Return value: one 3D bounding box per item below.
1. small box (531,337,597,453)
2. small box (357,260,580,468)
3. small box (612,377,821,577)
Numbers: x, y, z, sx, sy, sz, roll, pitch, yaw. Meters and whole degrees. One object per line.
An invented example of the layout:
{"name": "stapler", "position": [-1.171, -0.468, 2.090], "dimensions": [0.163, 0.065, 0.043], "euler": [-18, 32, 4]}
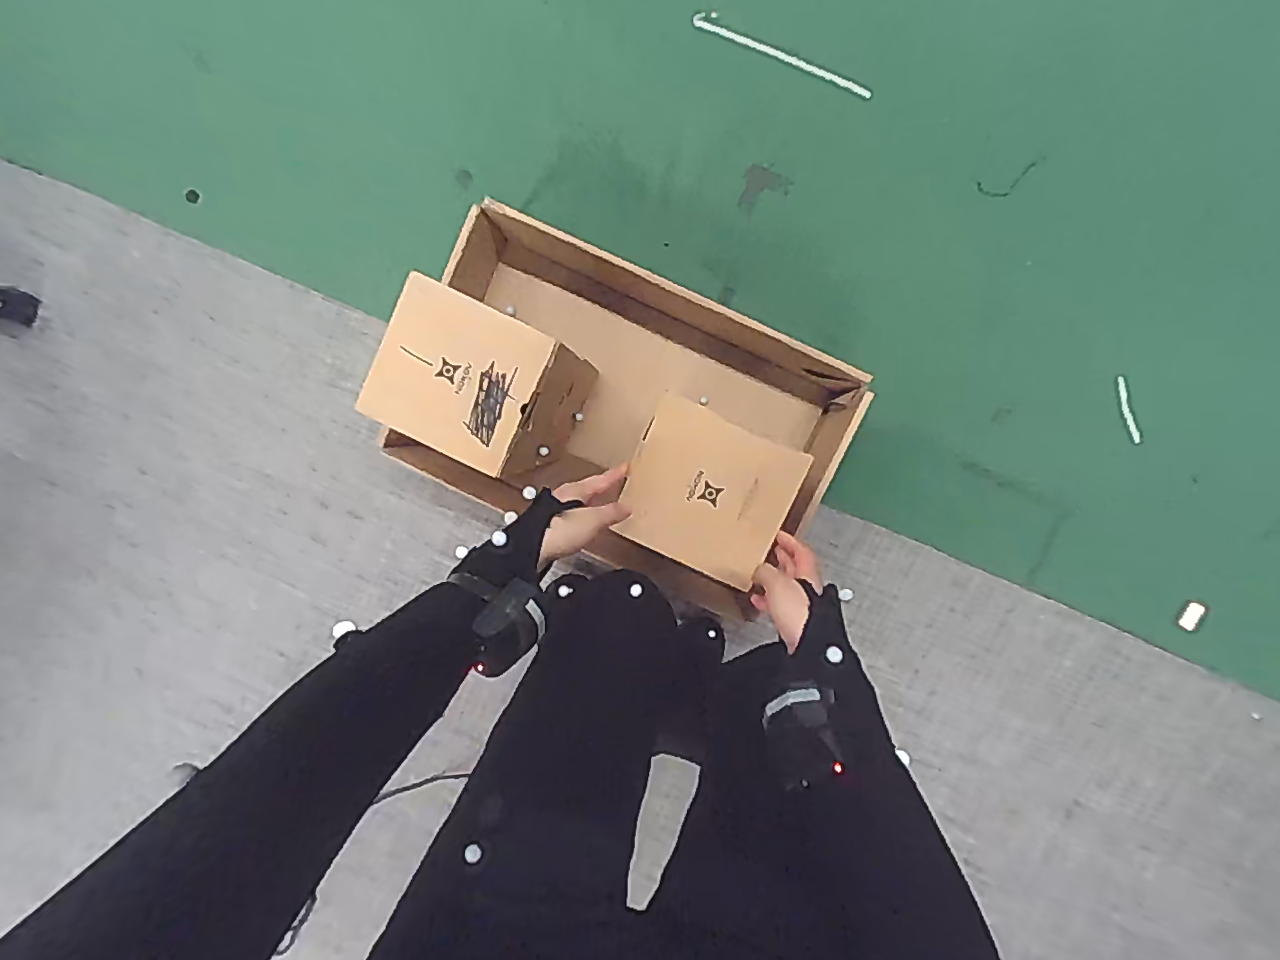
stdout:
{"name": "small box", "position": [-0.181, -0.151, 0.814], "dimensions": [0.179, 0.176, 0.168], "euler": [24, 97, -1]}
{"name": "small box", "position": [-0.189, -0.130, 0.651], "dimensions": [0.179, 0.176, 0.168], "euler": [26, 96, 1]}
{"name": "small box", "position": [0.084, -0.009, 0.654], "dimensions": [0.179, 0.176, 0.168], "euler": [23, 98, 0]}
